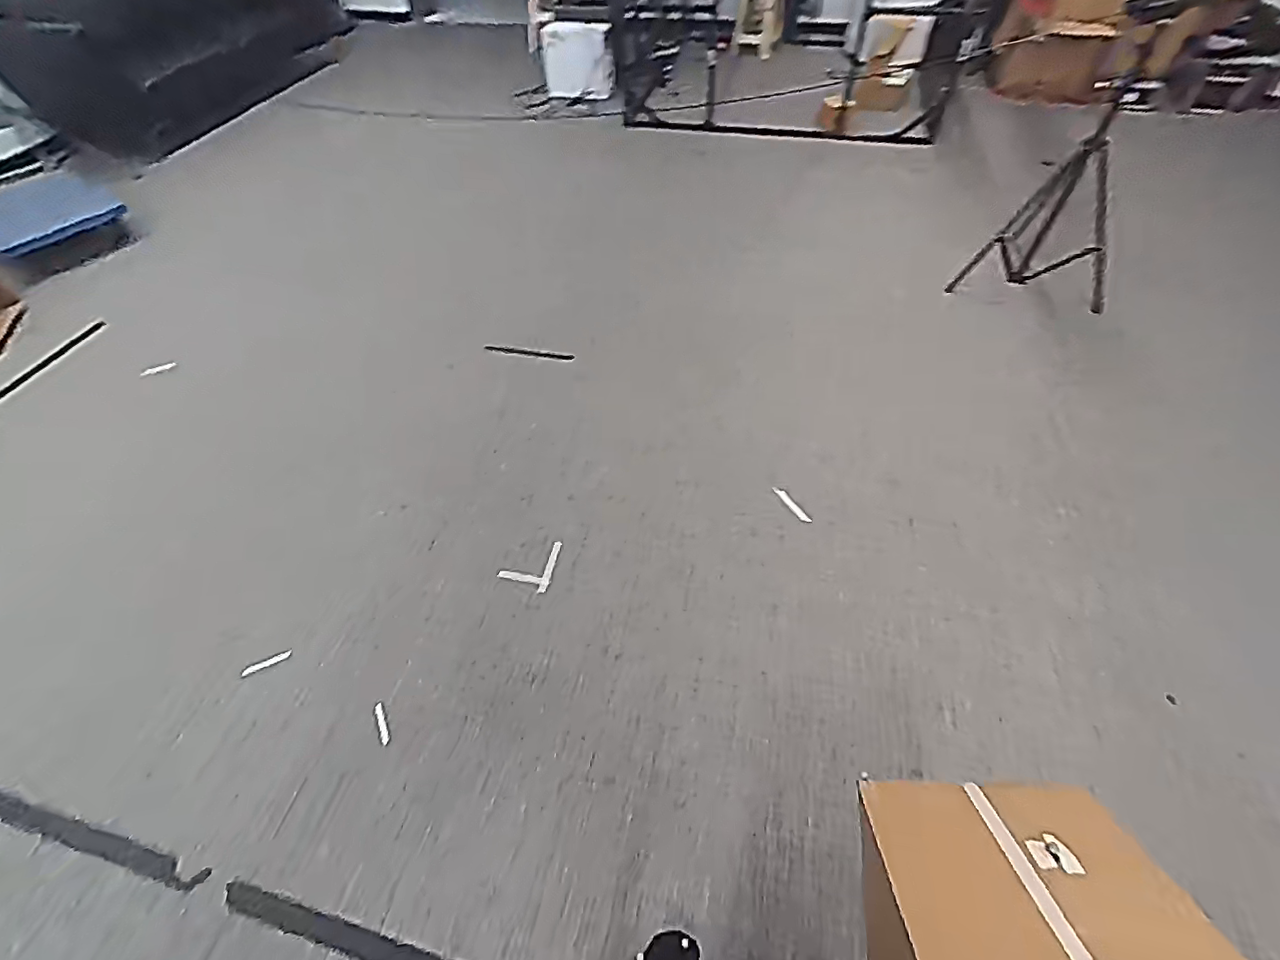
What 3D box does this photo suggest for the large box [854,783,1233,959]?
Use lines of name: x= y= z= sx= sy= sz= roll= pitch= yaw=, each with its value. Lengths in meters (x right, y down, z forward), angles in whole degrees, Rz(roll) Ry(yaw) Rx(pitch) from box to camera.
large box: x=0.465 y=0.633 z=0.633 sx=0.320 sy=0.408 sz=0.320 roll=-3 pitch=95 yaw=9
